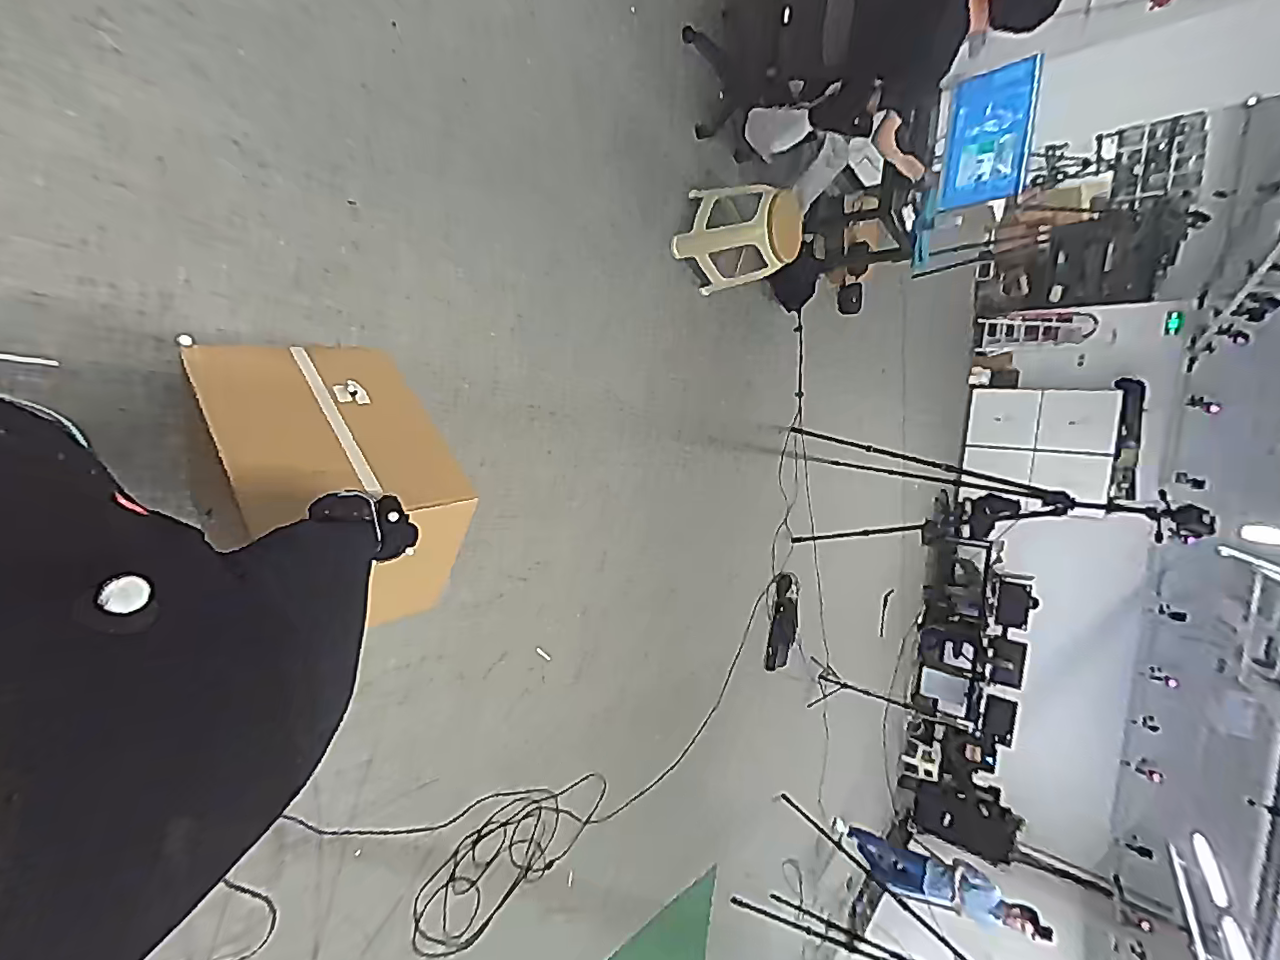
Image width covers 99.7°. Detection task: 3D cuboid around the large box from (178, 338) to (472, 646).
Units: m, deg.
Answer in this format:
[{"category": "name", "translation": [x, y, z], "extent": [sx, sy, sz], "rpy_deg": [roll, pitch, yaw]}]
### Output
[{"category": "large box", "translation": [-0.557, 0.002, 0.949], "extent": [0.320, 0.408, 0.320], "rpy_deg": [-12, 144, -46]}]
